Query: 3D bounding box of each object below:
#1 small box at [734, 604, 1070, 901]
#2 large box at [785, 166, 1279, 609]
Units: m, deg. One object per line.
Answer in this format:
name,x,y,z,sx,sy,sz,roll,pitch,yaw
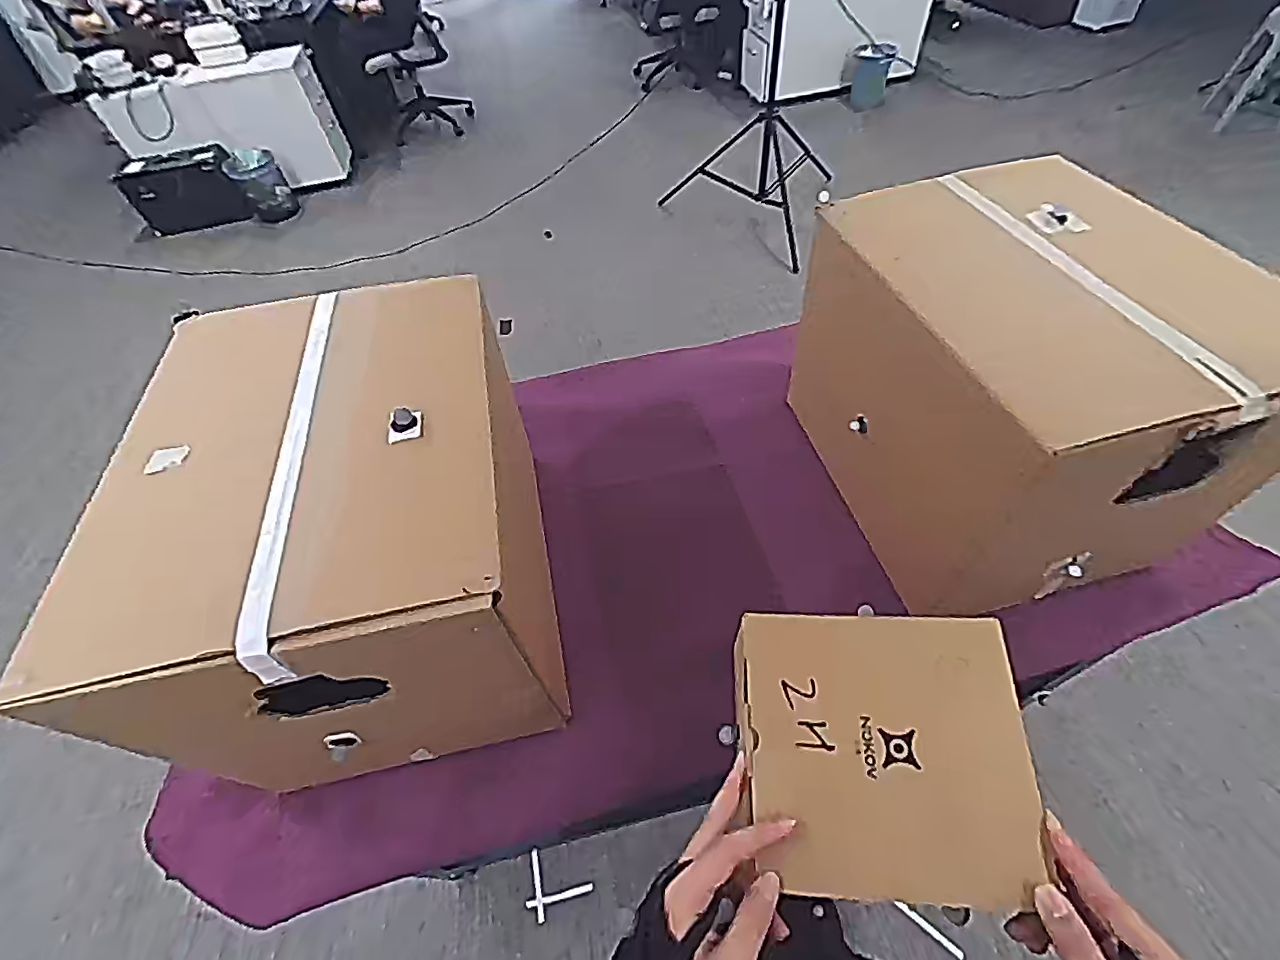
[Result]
small box,0.167,0.195,0.416,0.179,0.176,0.168,-1,65,7
large box,0.406,-0.105,0.636,0.320,0.320,0.408,-13,51,-5
